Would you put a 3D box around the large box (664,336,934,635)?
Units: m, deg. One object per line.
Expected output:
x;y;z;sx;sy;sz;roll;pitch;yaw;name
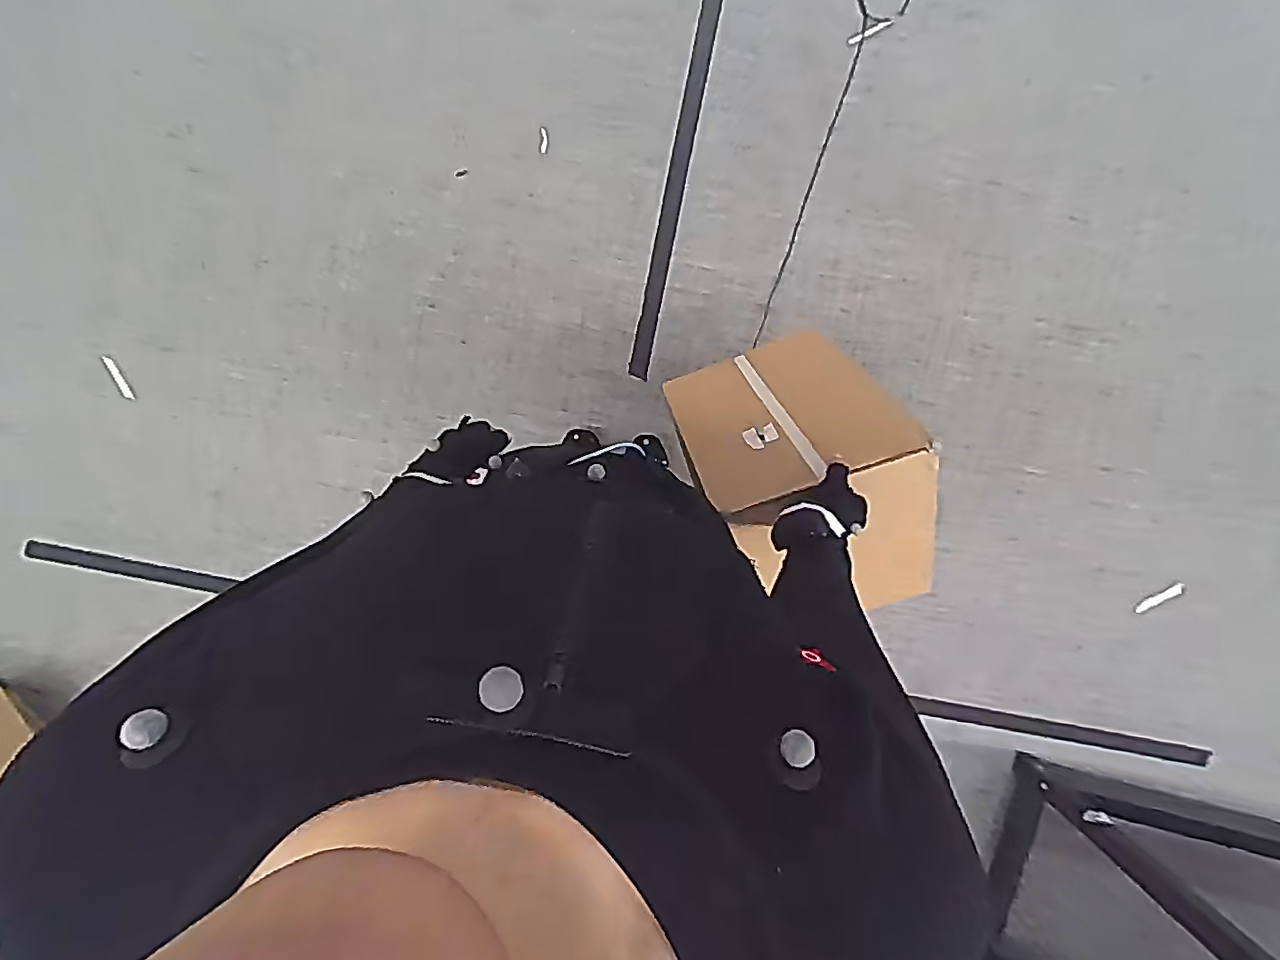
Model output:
0.262;-0.003;0.982;0.320;0.408;0.320;-19;129;4;large box
